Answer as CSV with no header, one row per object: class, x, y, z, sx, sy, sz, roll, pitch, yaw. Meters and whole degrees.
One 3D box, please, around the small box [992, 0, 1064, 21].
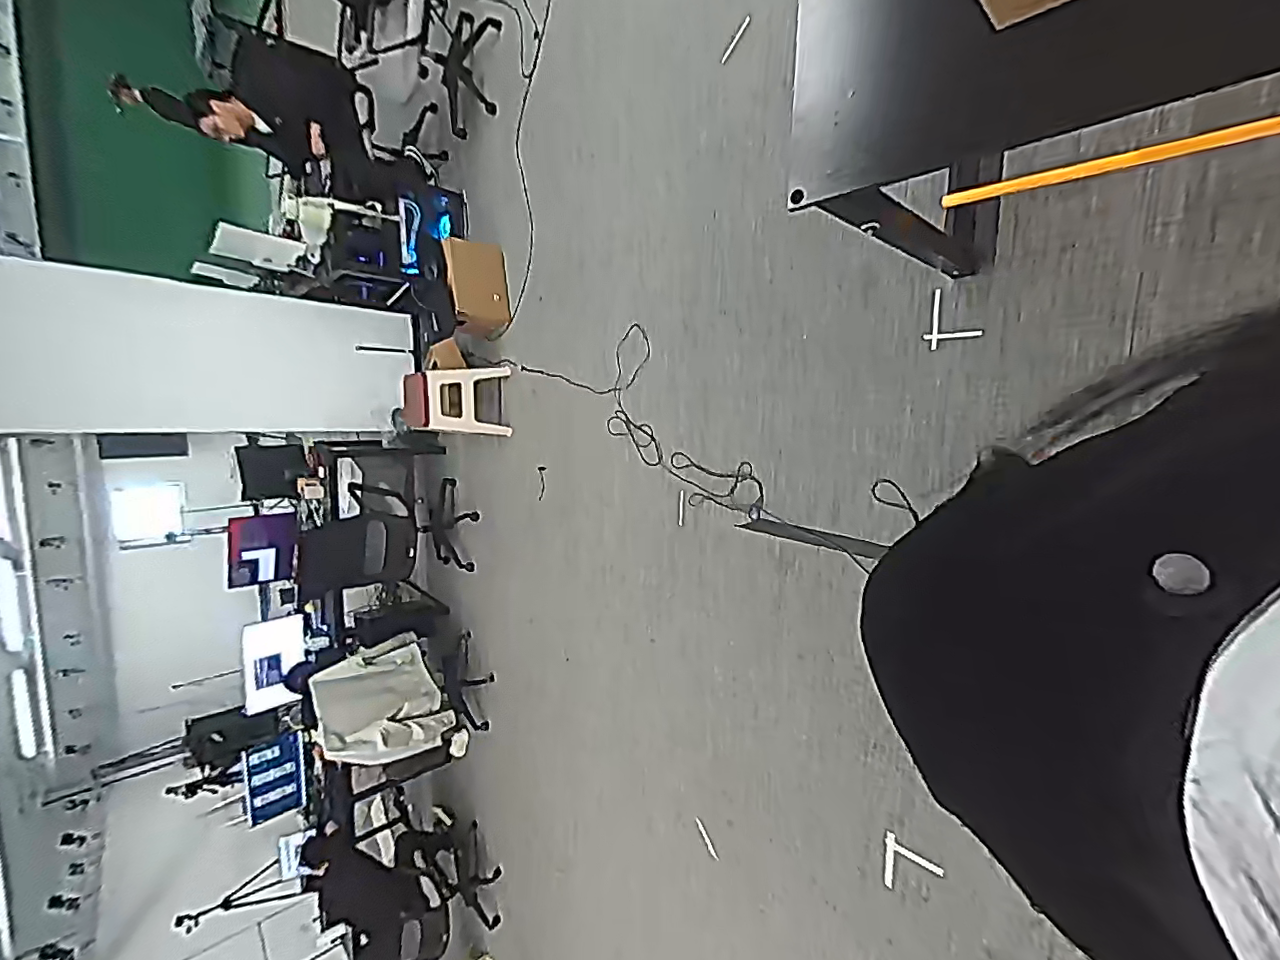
small box,0.435,-0.622,0.536,0.168,0.176,0.179,11,102,48
